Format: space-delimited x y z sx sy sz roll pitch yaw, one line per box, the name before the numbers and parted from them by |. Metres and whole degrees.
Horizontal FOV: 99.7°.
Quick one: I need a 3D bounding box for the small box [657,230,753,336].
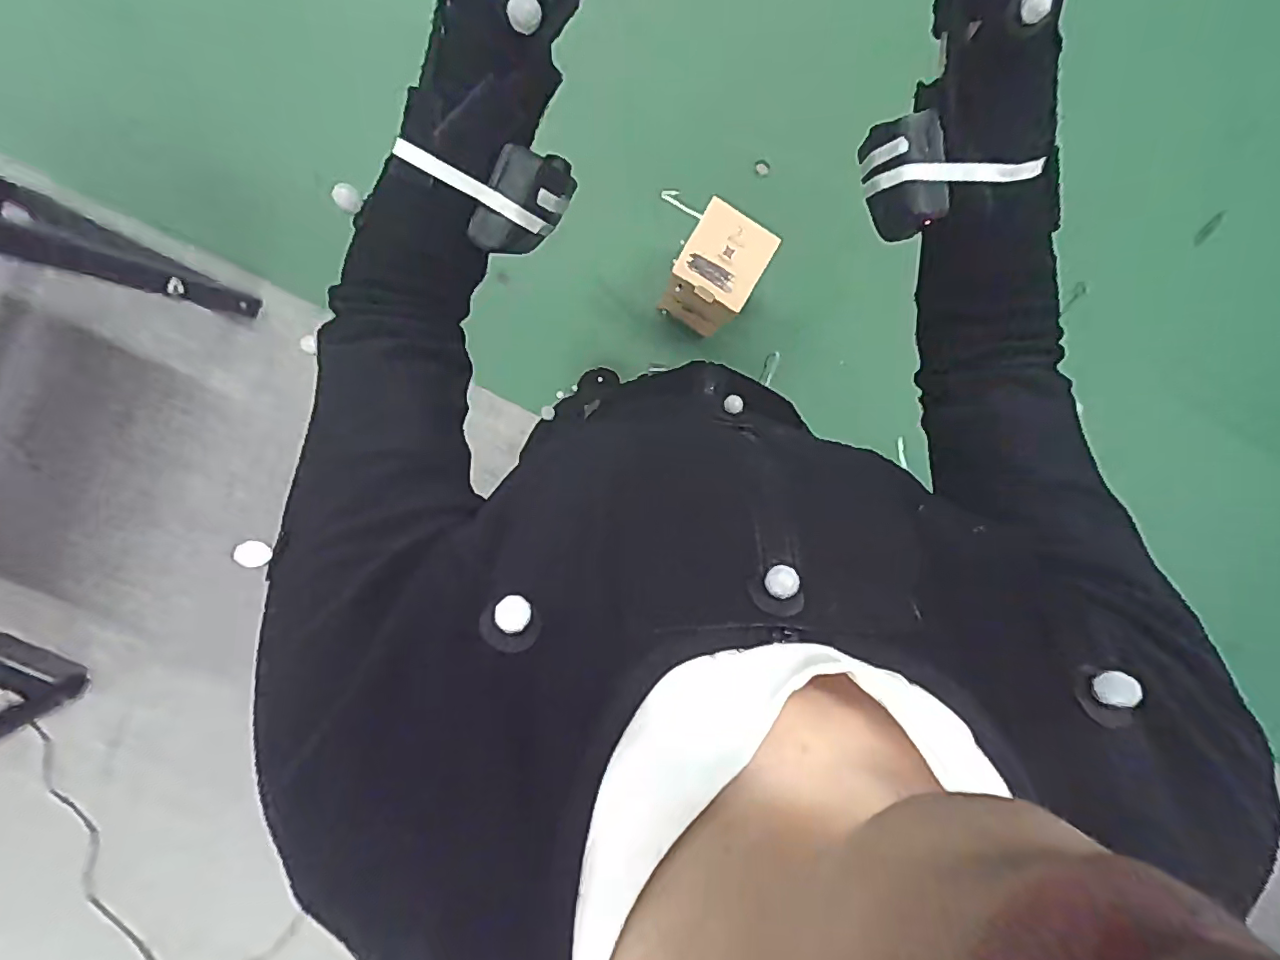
small box | 0.151 -0.476 1.339 0.168 0.176 0.179 28 96 -7
